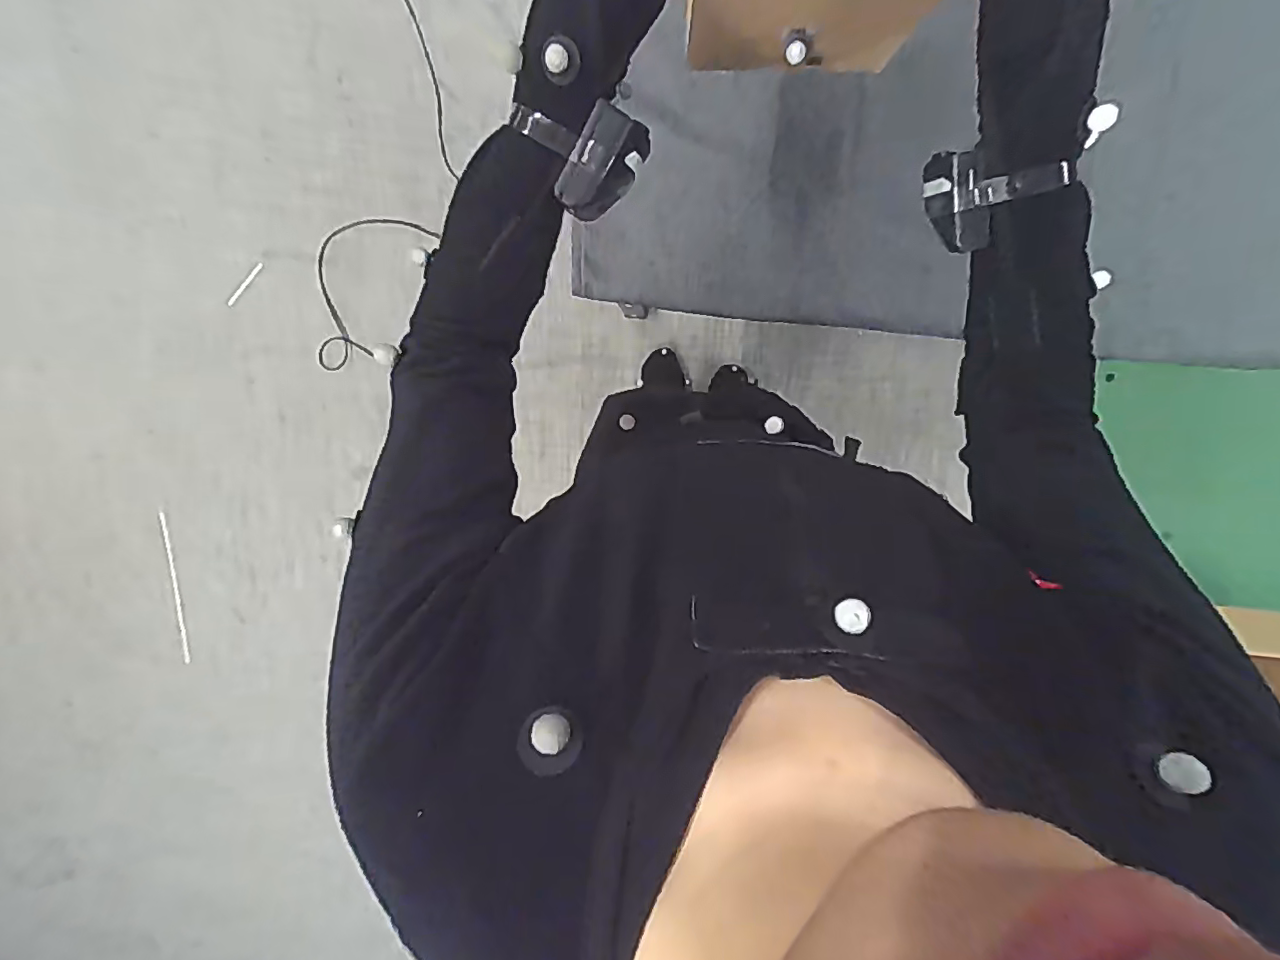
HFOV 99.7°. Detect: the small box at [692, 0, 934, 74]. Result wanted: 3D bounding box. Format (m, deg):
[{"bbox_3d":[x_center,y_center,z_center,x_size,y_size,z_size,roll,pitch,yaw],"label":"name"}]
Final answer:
[{"bbox_3d":[0.123,-0.411,0.358,0.168,0.176,0.179,2,104,2],"label":"small box"}]
